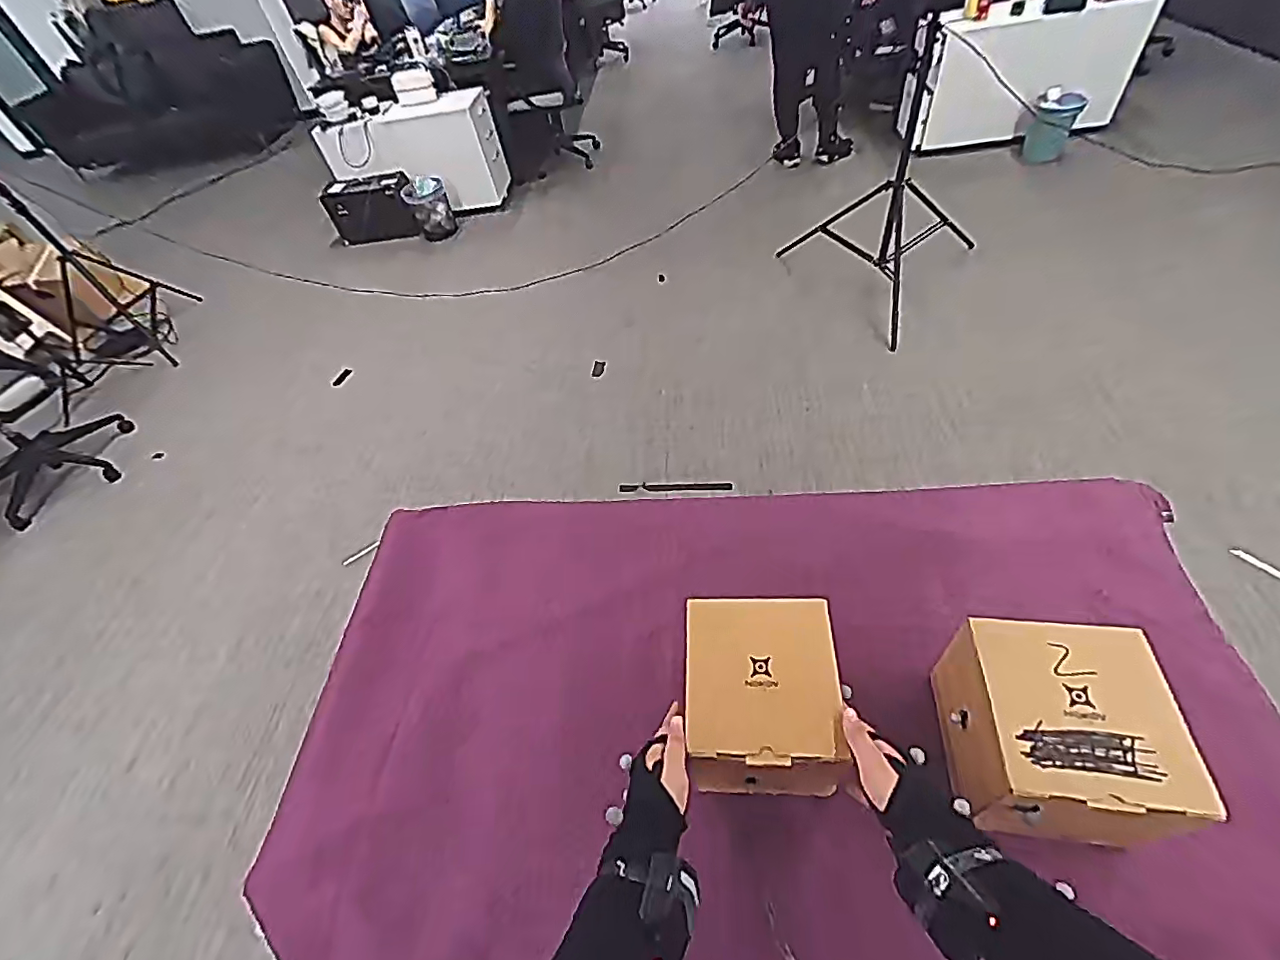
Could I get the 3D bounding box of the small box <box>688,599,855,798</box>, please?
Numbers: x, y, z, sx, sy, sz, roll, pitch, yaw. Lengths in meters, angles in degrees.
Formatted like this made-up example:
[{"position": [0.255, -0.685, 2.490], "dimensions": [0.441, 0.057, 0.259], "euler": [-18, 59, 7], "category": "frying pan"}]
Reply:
[{"position": [0.143, 0.262, 0.649], "dimensions": [0.168, 0.176, 0.179], "euler": [-1, 50, 7], "category": "small box"}]
